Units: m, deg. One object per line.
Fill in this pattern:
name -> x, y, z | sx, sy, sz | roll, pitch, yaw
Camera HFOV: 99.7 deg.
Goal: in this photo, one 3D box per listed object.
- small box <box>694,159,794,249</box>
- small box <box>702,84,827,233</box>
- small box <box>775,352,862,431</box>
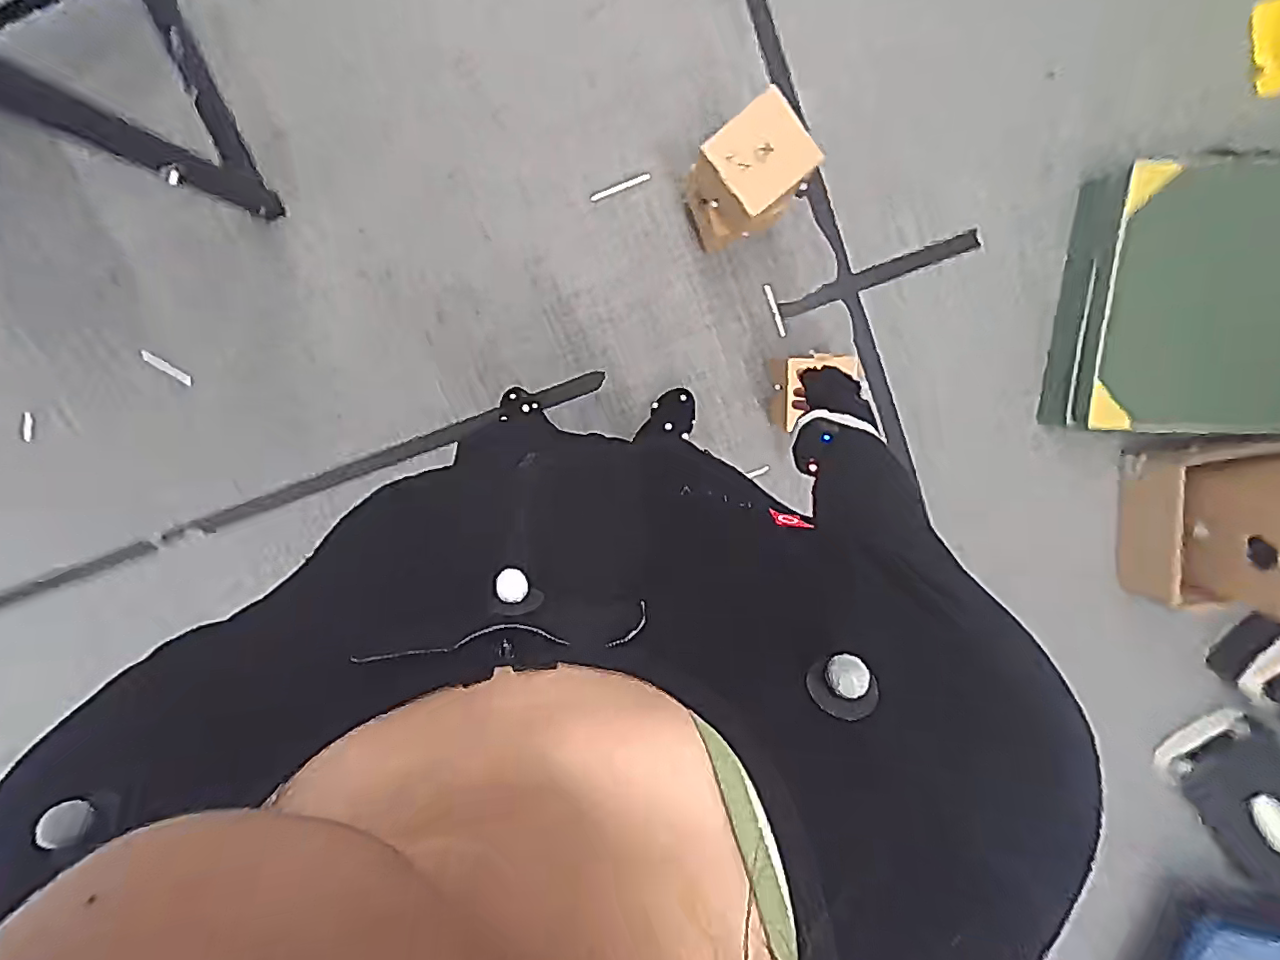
small box -> 0.232, -0.664, 1.261 | 0.179, 0.176, 0.168 | -22, 101, 4
small box -> 0.241, -0.638, 1.098 | 0.179, 0.176, 0.168 | -34, 98, 9
small box -> 0.440, -0.225, 1.356 | 0.168, 0.176, 0.179 | -4, 103, 0
